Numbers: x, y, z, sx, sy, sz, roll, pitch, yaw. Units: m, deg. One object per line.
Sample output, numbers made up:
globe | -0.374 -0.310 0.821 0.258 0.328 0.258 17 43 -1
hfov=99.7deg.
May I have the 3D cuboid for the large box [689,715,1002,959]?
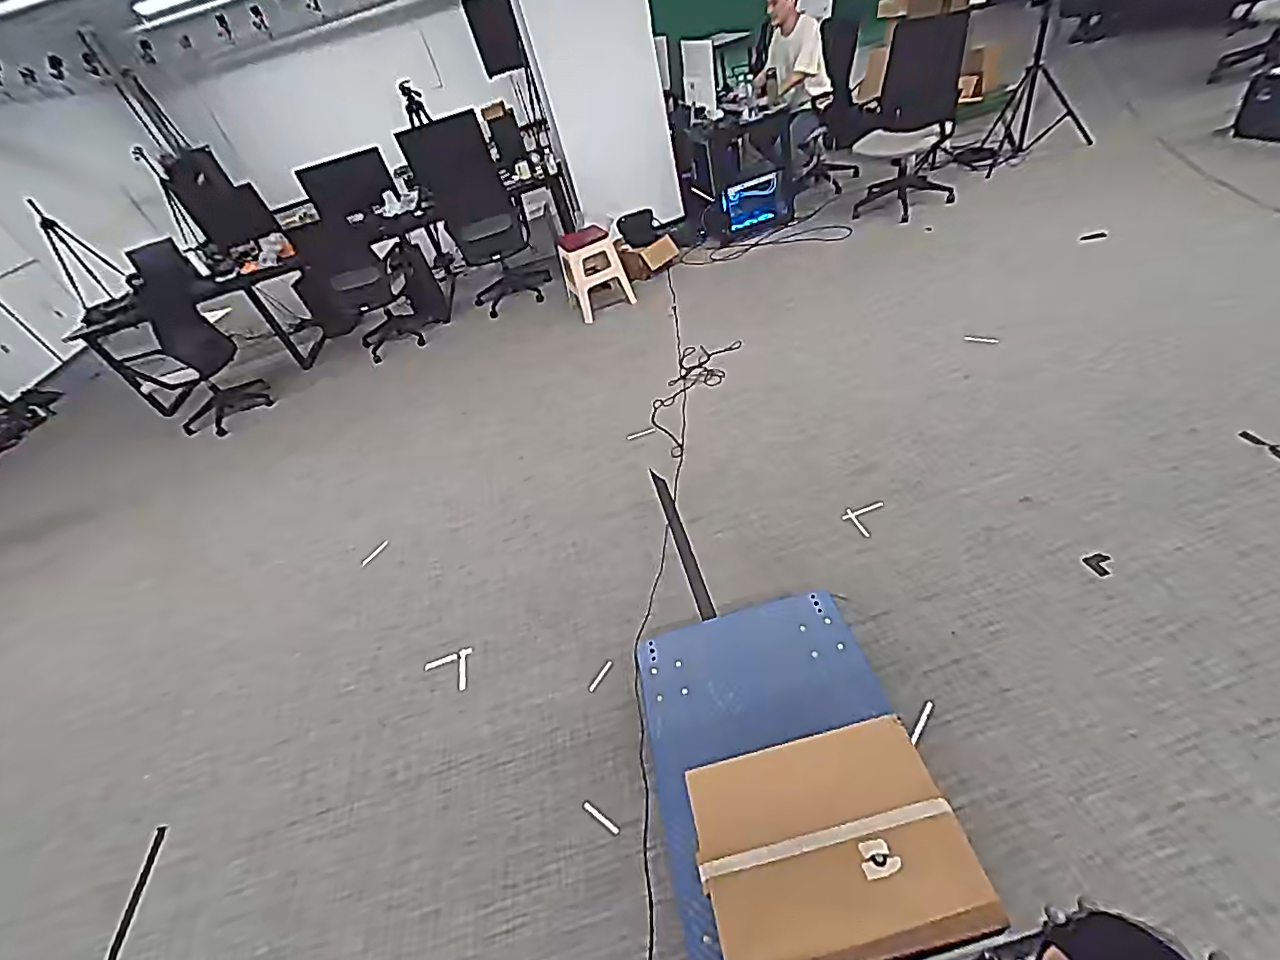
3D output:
large box | 0.337 0.694 0.980 0.408 0.320 0.320 -17 41 1
